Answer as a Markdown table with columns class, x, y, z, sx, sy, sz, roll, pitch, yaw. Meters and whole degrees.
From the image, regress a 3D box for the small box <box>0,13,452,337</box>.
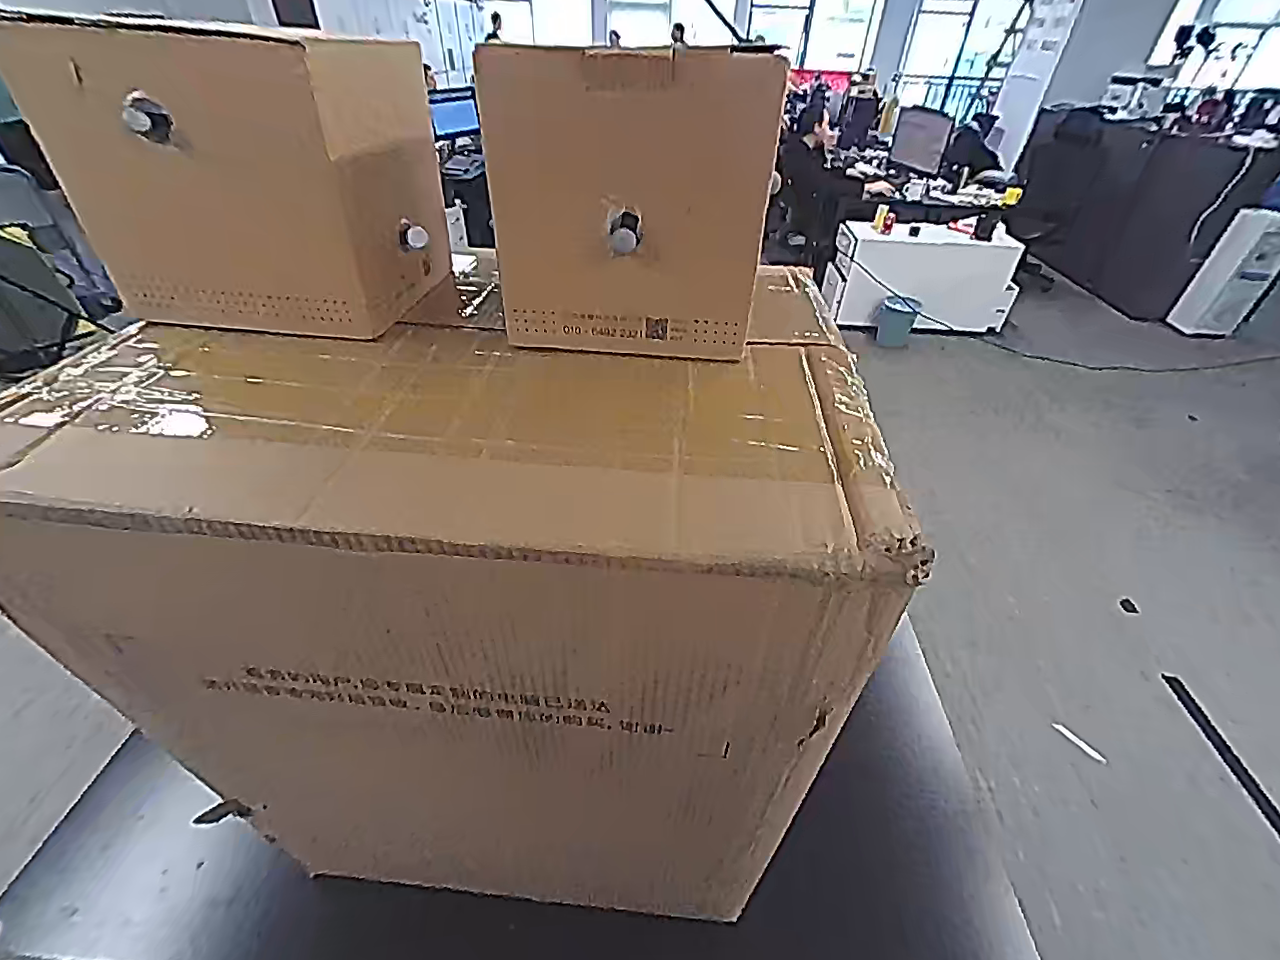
| class | x | y | z | sx | sy | sz | roll | pitch | yaw |
| --- | --- | --- | --- | --- | --- | --- | --- | --- | --- |
| small box | -0.257 | -0.215 | 0.391 | 0.179 | 0.176 | 0.168 | 5 | 38 | 1 |

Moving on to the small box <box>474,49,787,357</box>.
| class | x | y | z | sx | sy | sz | roll | pitch | yaw |
| --- | --- | --- | --- | --- | --- | --- | --- | --- | --- |
| small box | 0.001 | -0.200 | 0.388 | 0.168 | 0.176 | 0.179 | 4 | 38 | 3 |
